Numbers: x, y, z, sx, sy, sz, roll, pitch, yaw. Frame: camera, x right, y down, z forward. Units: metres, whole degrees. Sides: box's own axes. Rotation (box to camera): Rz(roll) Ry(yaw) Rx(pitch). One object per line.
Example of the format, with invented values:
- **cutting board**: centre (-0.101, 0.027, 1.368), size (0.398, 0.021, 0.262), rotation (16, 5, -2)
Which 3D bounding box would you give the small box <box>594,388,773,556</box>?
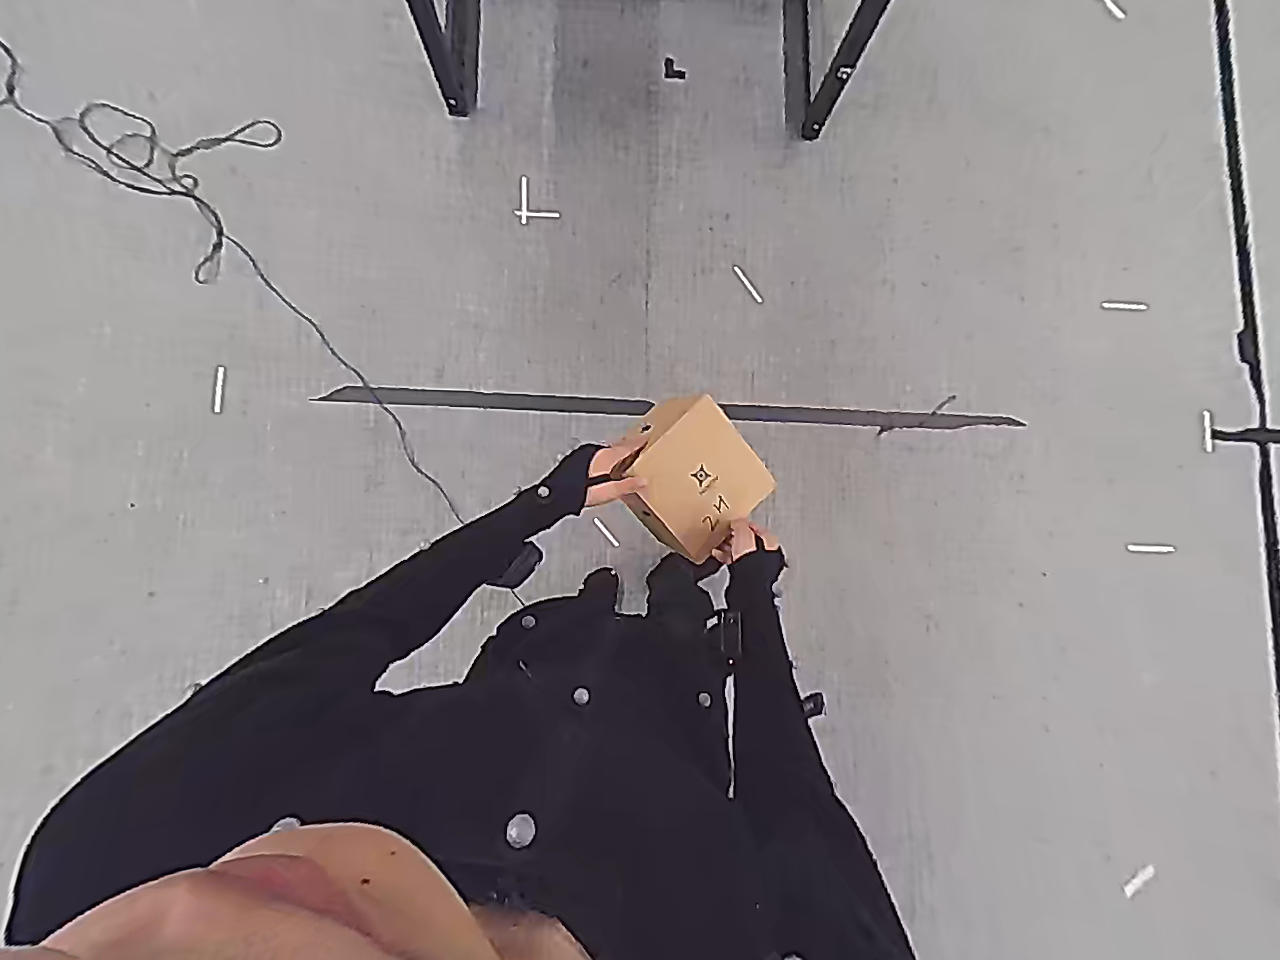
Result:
- **small box**: centre (0.055, -0.016, 0.813), size (0.168, 0.176, 0.179), rotation (-45, 108, -9)
